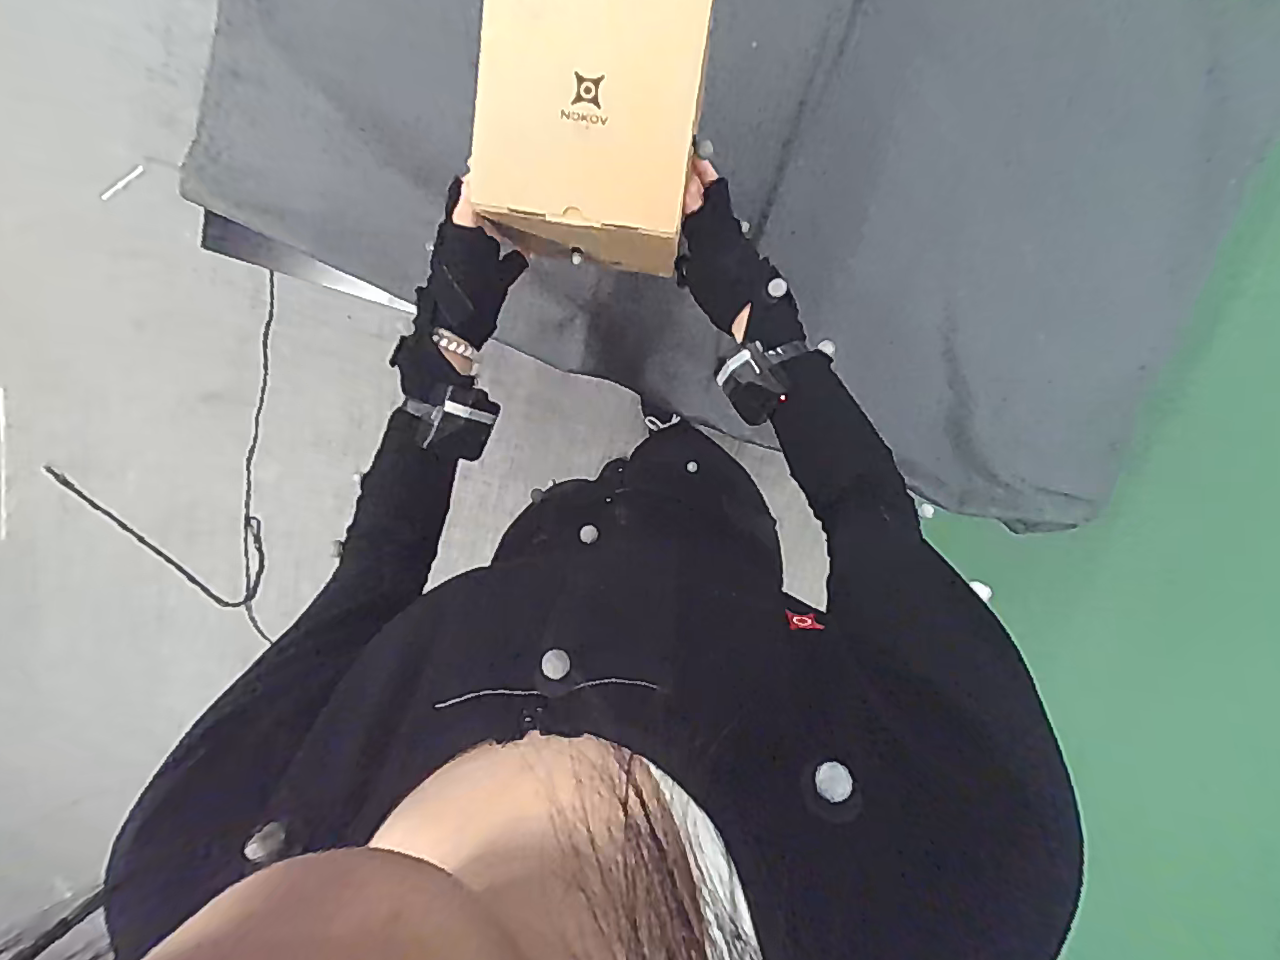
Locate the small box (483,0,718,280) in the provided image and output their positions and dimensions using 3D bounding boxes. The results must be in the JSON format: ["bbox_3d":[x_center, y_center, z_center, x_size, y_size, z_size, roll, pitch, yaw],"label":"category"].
[{"bbox_3d":[-0.032,-0.299,0.499,0.168,0.176,0.179,9,102,1],"label":"small box"}]
